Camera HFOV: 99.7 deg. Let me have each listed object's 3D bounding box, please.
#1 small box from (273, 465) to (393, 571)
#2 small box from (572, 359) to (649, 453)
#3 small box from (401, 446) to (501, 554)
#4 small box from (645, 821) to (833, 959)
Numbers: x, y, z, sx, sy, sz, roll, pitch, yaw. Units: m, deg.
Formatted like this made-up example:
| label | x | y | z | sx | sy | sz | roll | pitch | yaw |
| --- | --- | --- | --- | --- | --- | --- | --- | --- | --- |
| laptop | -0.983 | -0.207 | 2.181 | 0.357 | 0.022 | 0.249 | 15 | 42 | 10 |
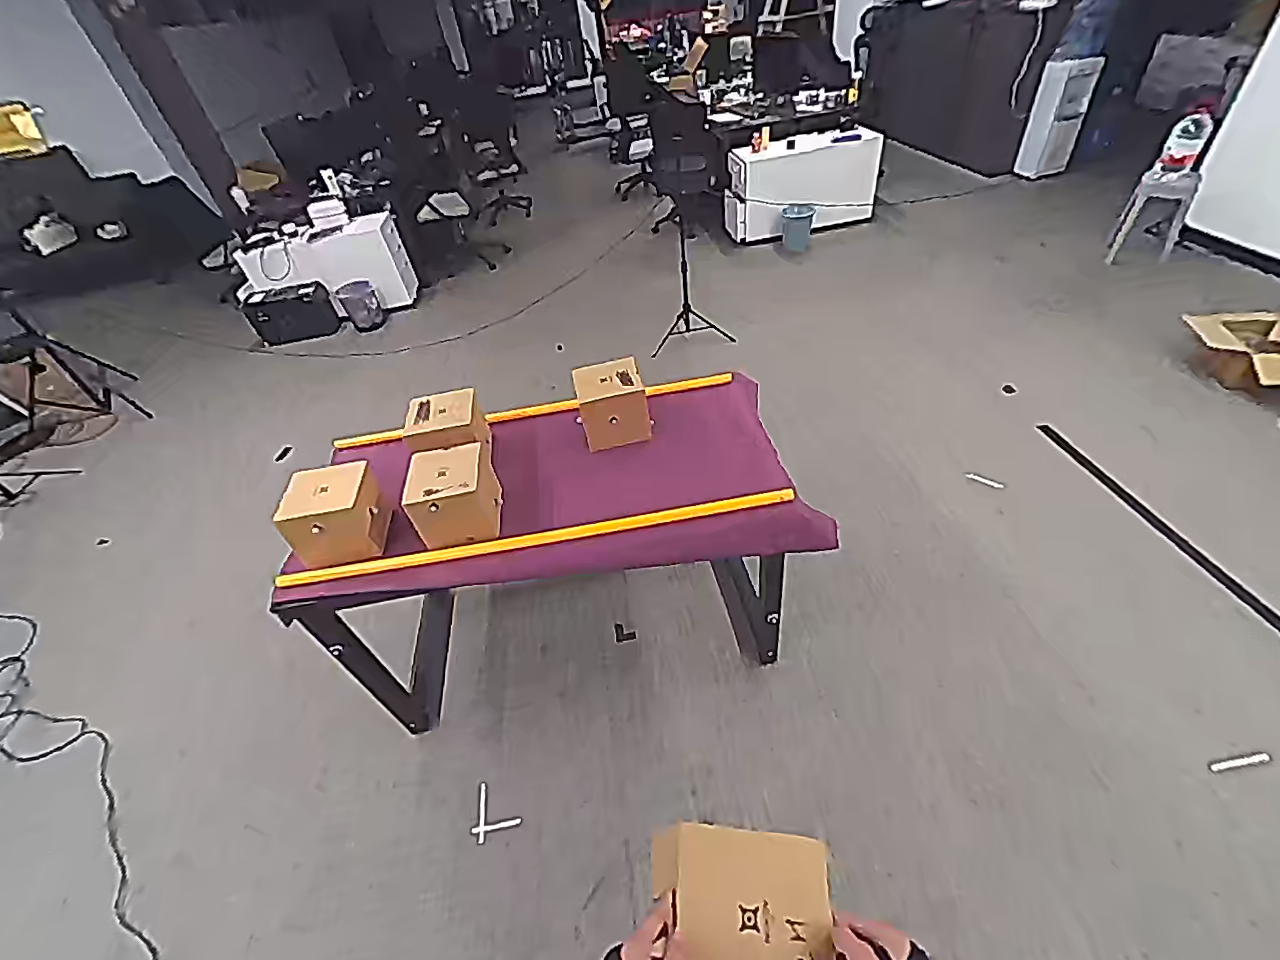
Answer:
| label | x | y | z | sx | sy | sz | roll | pitch | yaw |
| --- | --- | --- | --- | --- | --- | --- | --- | --- | --- |
| small box | -0.711 | 0.092 | 1.278 | 0.179 | 0.176 | 0.168 | -11 | 42 | -3 |
| small box | -0.077 | -0.199 | 1.470 | 0.179 | 0.176 | 0.168 | -14 | 44 | -2 |
| small box | -0.433 | 0.047 | 1.274 | 0.168 | 0.176 | 0.179 | -12 | 42 | -1 |
| small box | 0.104 | 0.512 | 0.627 | 0.179 | 0.176 | 0.168 | 9 | 51 | -4 |
